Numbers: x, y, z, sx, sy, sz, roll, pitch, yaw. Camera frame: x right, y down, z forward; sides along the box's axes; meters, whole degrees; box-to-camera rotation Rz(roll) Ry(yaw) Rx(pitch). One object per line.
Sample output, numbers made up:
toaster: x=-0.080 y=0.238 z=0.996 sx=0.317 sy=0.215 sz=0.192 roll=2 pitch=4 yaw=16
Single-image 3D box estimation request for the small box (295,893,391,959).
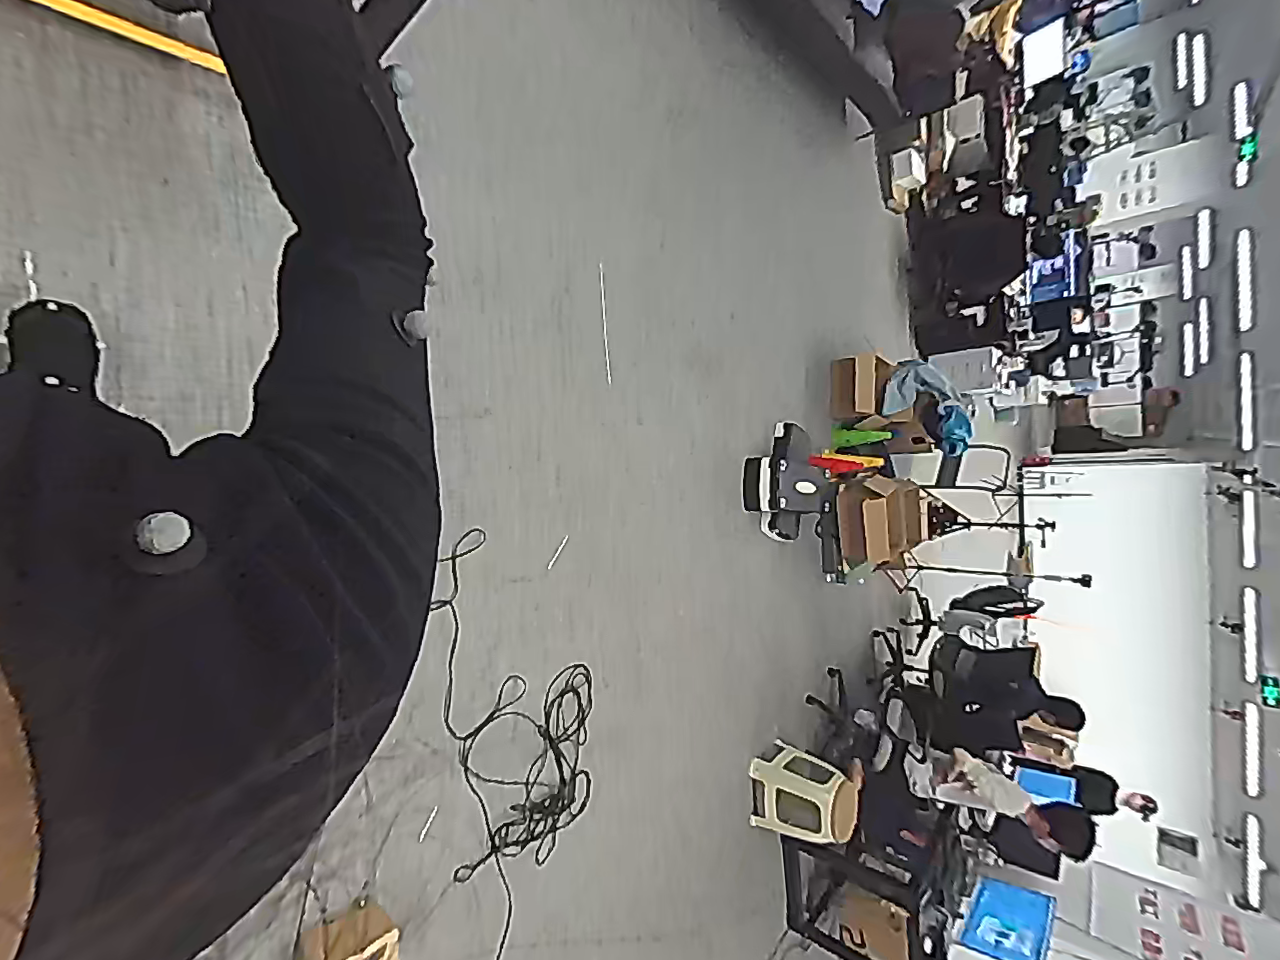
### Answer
small box: x=-0.731 y=1.167 z=1.329 sx=0.168 sy=0.176 sz=0.179 roll=-2 pitch=91 yaw=-49
